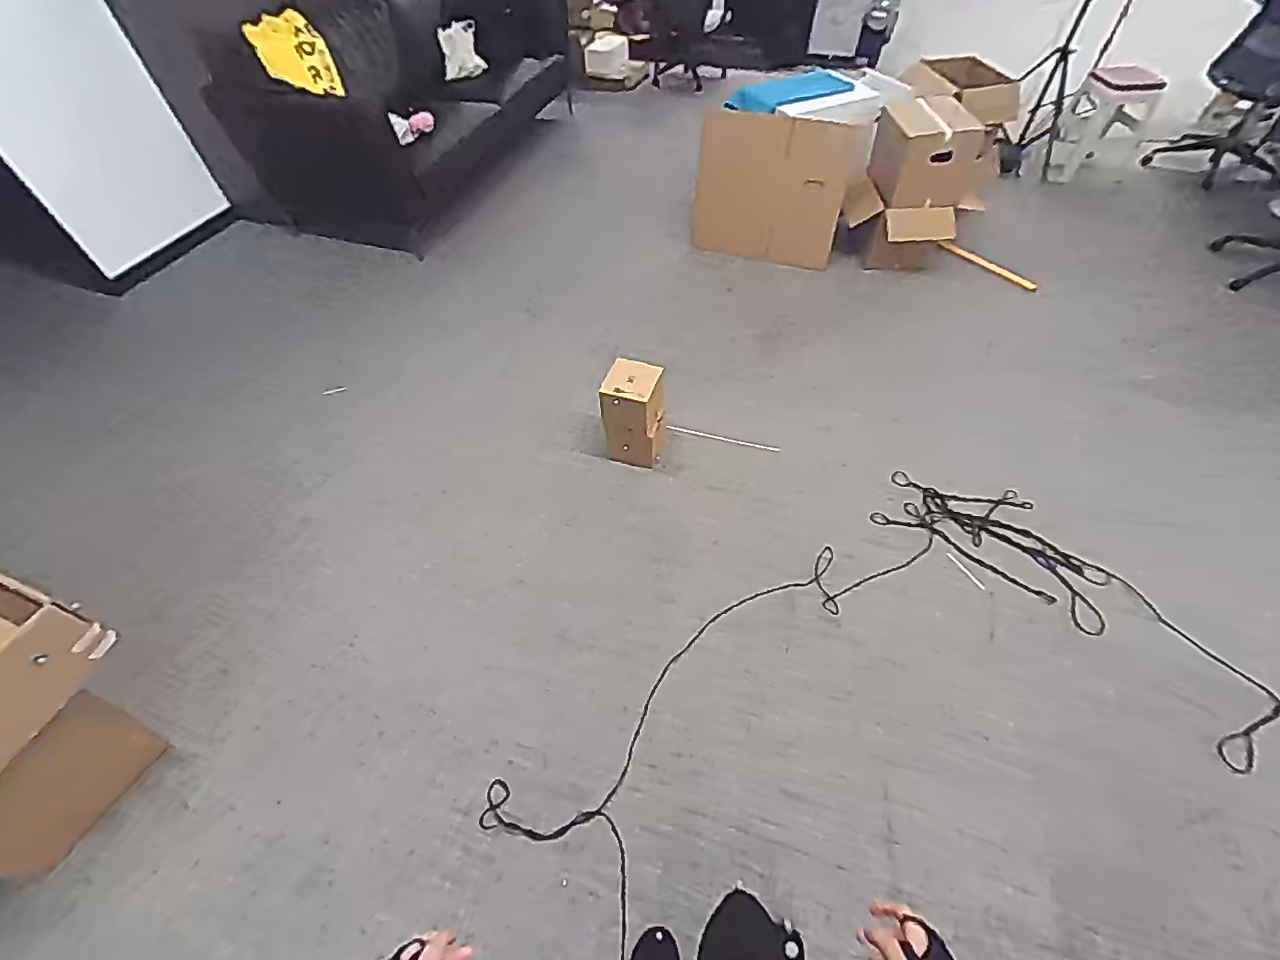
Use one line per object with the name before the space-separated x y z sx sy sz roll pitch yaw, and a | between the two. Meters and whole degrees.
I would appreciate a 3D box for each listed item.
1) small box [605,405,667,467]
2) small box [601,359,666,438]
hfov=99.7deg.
small box | -0.008 -0.168 1.924 0.179 0.176 0.168 14 53 13
small box | -0.019 -0.271 1.796 0.168 0.176 0.179 15 53 14
